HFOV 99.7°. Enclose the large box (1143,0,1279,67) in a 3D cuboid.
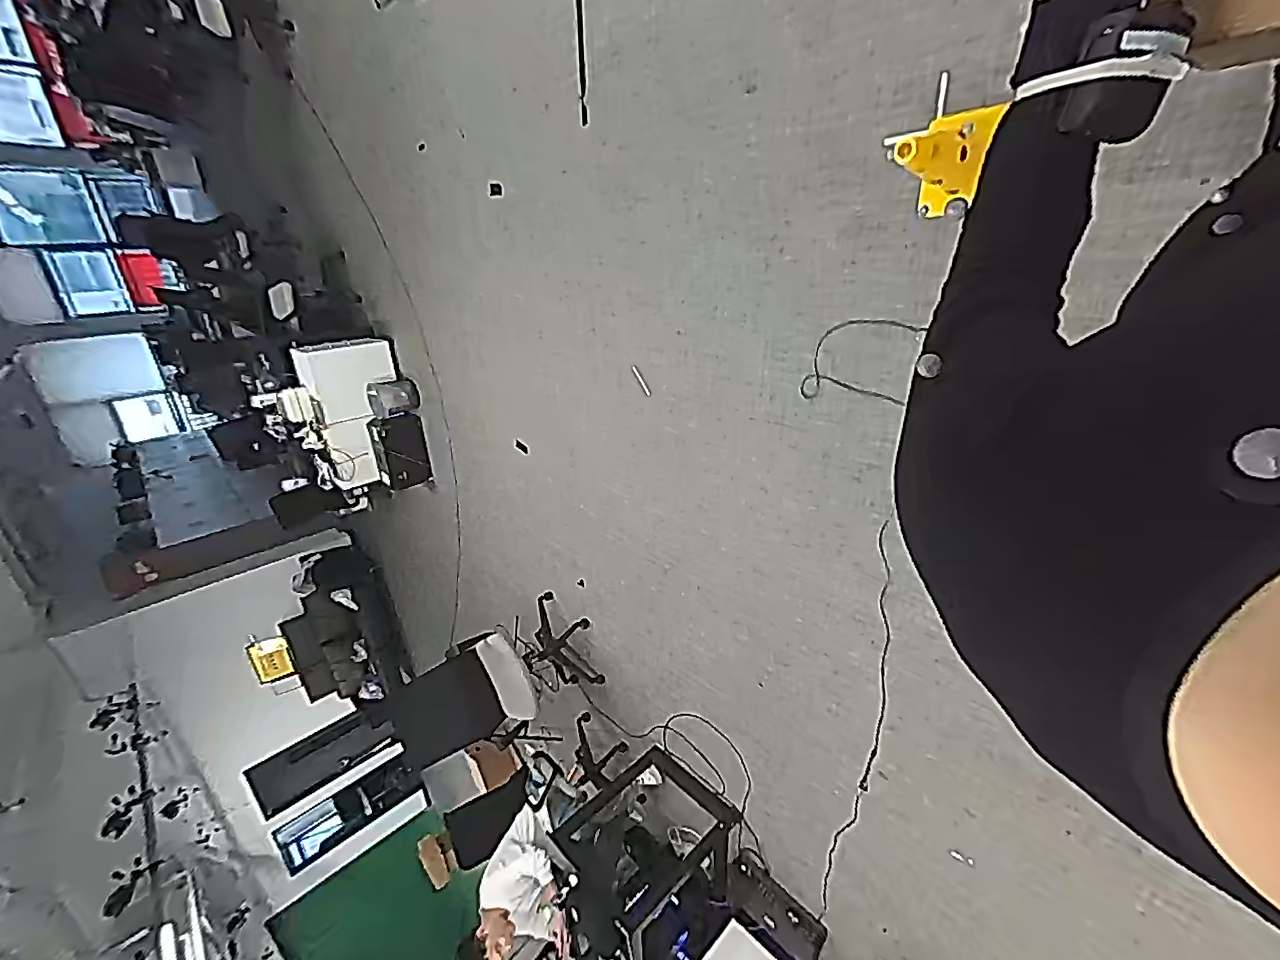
[{"bbox_3d":[0.544,-0.436,0.239,0.408,0.320,0.320,18,127,44],"label":"large box"}]
